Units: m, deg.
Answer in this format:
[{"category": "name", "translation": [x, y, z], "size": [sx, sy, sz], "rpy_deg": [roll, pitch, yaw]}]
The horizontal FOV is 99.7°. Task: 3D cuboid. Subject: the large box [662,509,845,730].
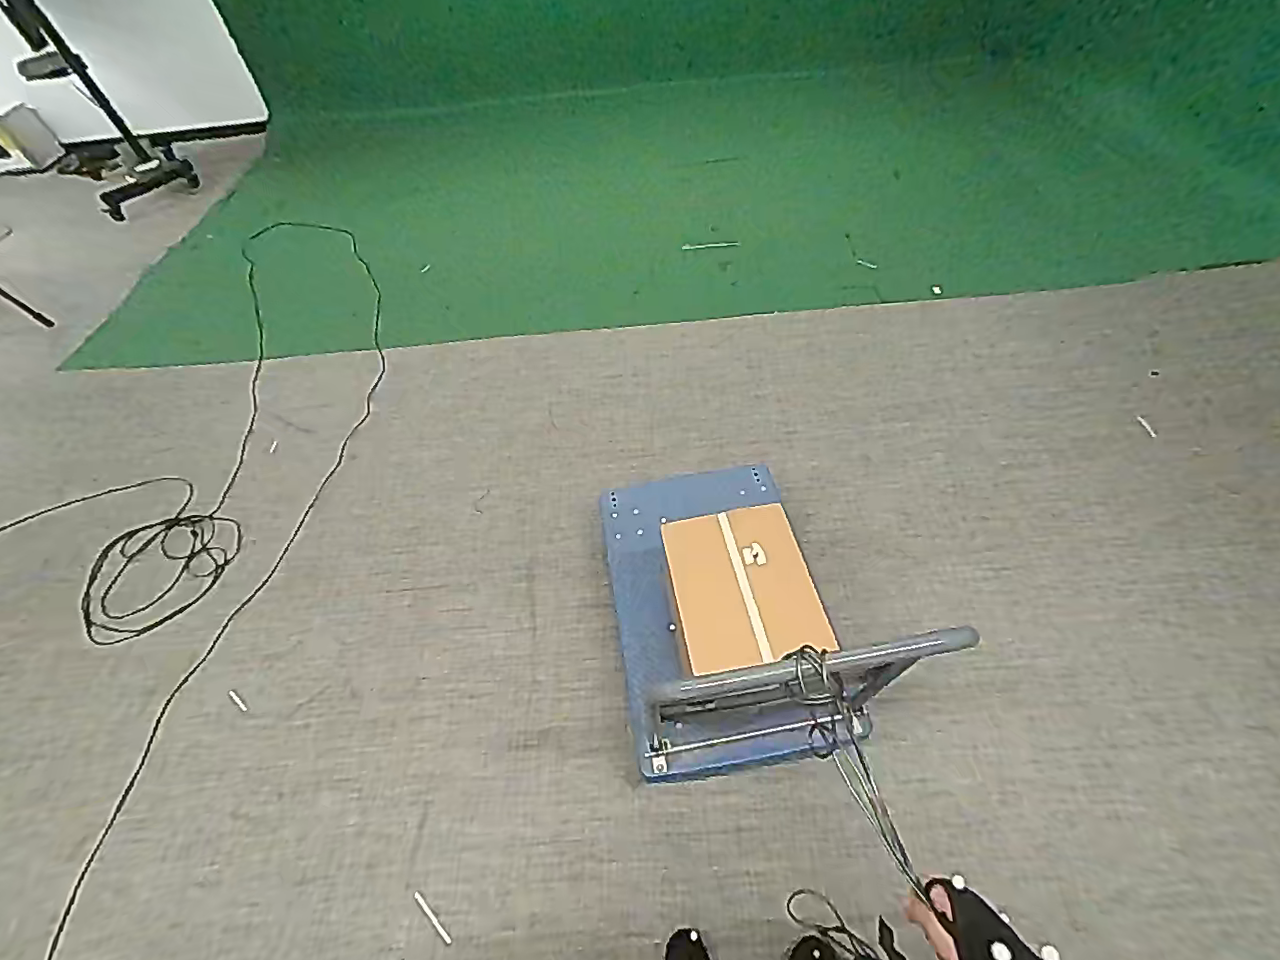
[{"category": "large box", "translation": [0.249, 0.341, 1.332], "size": [0.320, 0.320, 0.408], "rpy_deg": [-9, 51, -3]}]
